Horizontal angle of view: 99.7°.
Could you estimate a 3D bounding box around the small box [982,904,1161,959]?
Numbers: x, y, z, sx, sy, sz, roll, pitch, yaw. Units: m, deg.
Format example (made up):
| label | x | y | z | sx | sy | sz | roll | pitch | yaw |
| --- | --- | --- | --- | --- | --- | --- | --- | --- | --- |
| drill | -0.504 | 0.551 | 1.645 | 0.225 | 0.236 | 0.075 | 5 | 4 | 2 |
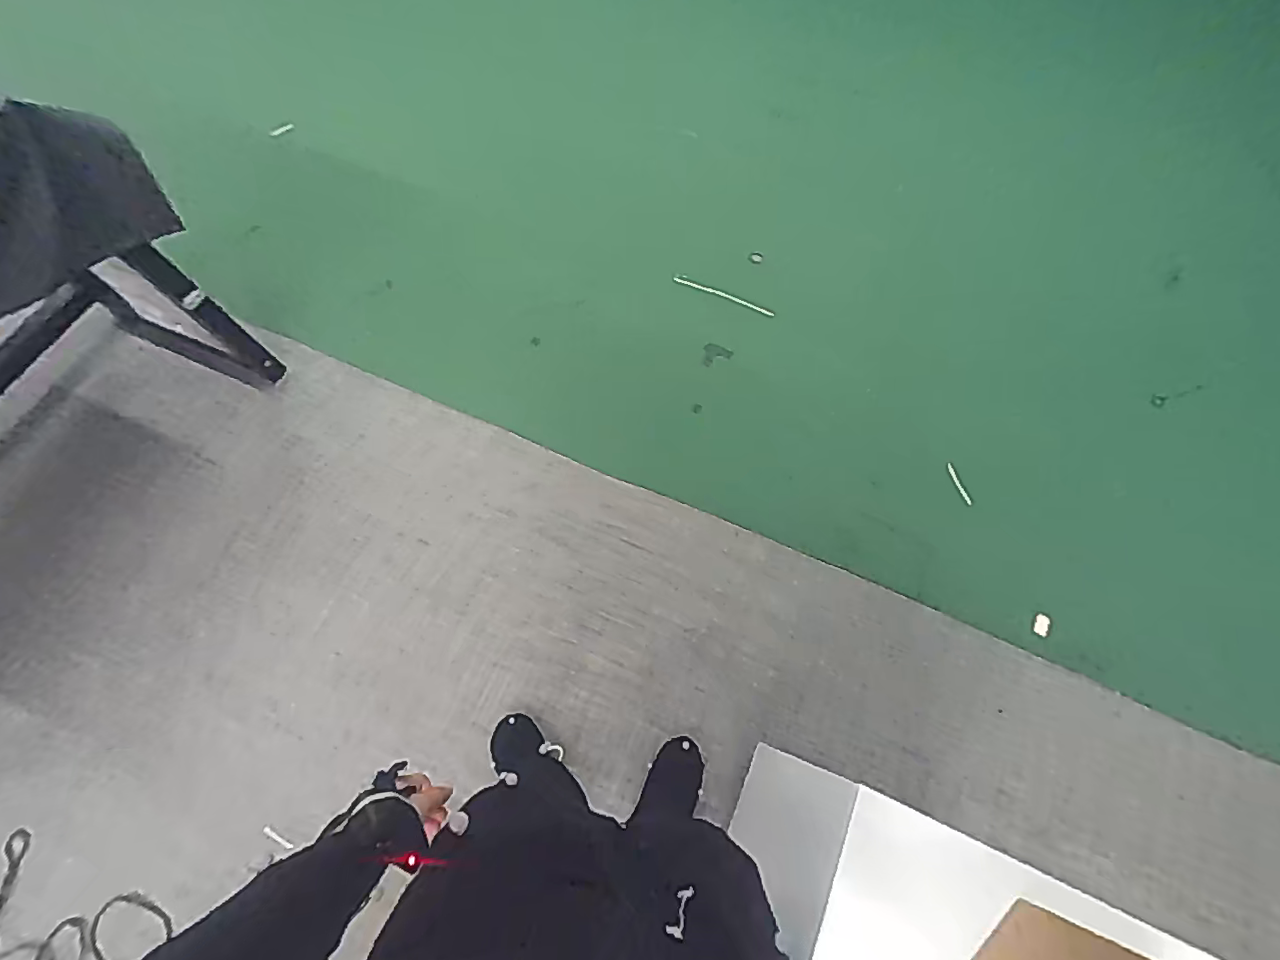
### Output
| label | x | y | z | sx | sy | sz | roll | pitch | yaw |
| --- | --- | --- | --- | --- | --- | --- | --- | --- | --- |
| small box | 0.396 | 0.516 | 0.450 | 0.179 | 0.176 | 0.168 | -37 | 75 | -18 |
